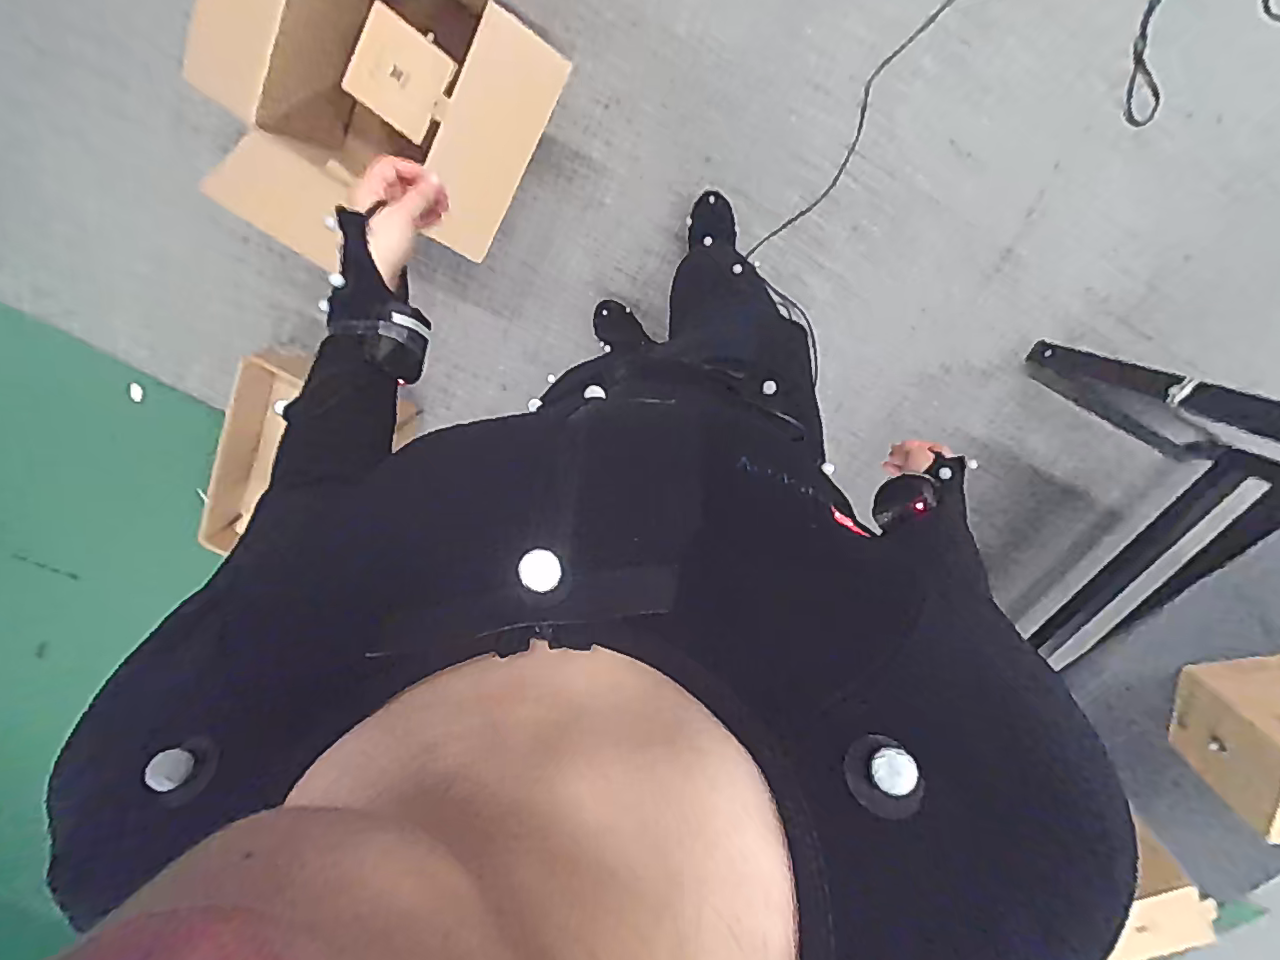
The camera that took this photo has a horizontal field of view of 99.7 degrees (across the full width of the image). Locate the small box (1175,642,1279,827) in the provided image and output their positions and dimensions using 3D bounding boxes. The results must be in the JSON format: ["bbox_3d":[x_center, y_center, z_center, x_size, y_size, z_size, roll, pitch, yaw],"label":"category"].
[{"bbox_3d":[0.924,0.349,0.765,0.179,0.176,0.168,-12,113,8],"label":"small box"}]
